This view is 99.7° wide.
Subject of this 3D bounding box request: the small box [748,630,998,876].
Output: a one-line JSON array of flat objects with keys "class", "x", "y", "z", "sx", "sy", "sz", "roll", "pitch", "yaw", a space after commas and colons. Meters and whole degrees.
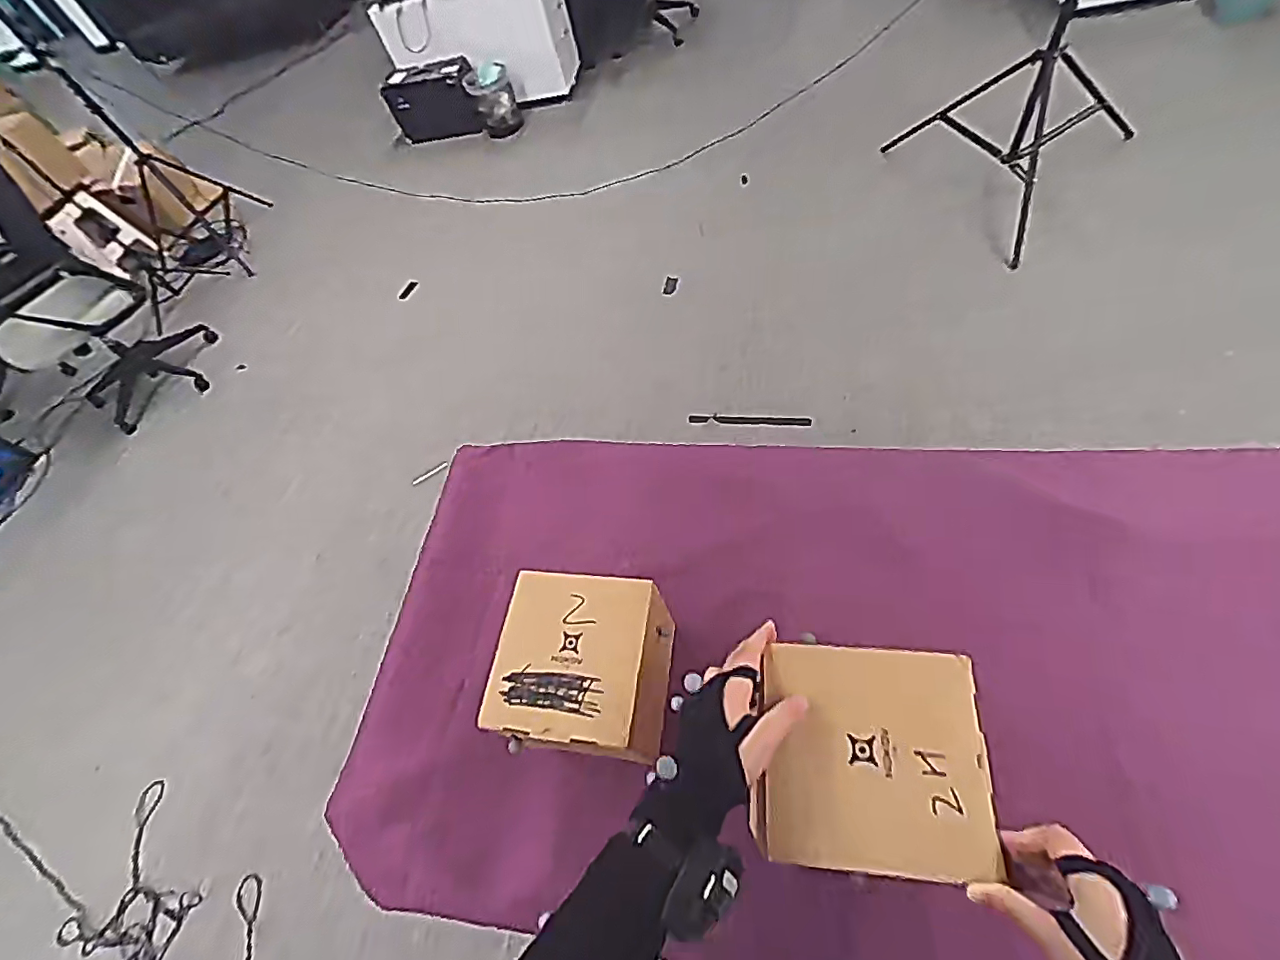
[{"class": "small box", "x": 0.196, "y": 0.248, "z": 0.514, "sx": 0.179, "sy": 0.176, "sz": 0.168, "roll": 3, "pitch": 66, "yaw": 8}]
